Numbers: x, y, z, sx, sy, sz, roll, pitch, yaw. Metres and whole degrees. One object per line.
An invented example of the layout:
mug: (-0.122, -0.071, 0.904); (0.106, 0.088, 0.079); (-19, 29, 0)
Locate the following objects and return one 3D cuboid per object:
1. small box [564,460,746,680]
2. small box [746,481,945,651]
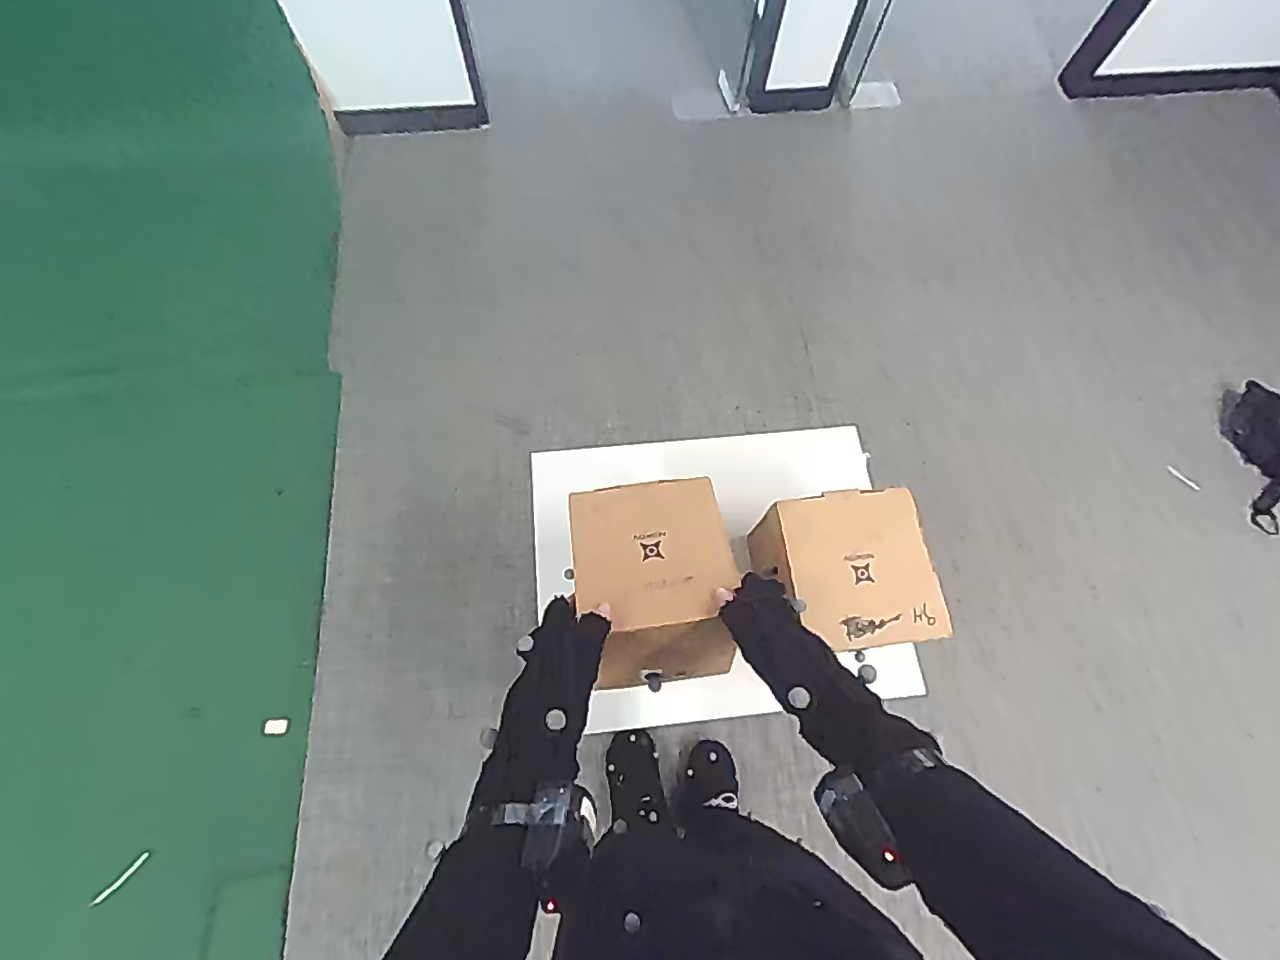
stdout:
small box: (0.009, 0.103, 0.613); (0.168, 0.176, 0.179); (-8, 53, -4)
small box: (0.241, 0.116, 0.688); (0.168, 0.176, 0.179); (-5, 70, -3)
